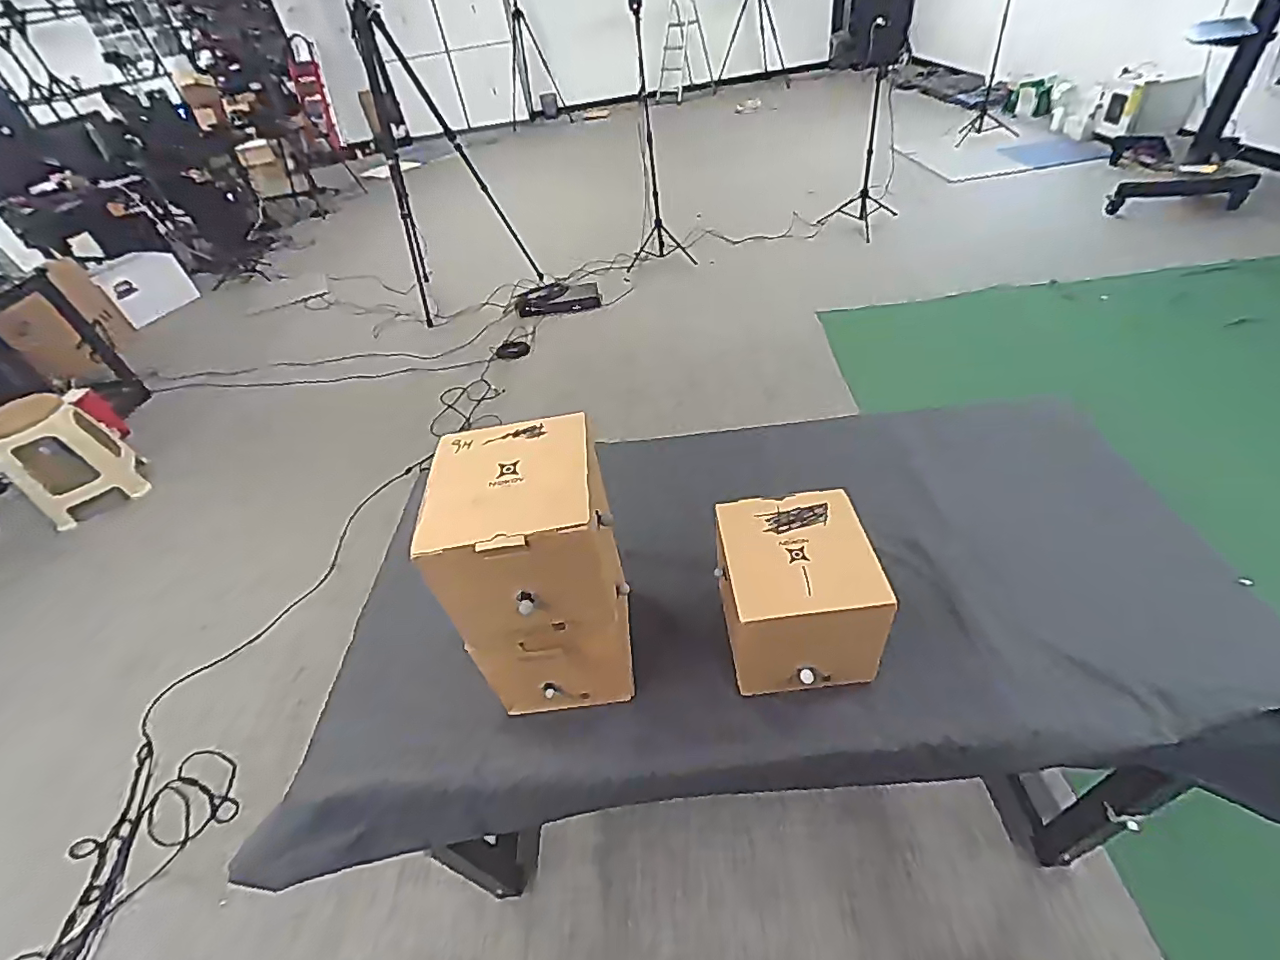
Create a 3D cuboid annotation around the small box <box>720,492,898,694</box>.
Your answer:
[{"bbox_3d":[0.194,0.141,0.677,0.168,0.176,0.179,-8,42,3],"label":"small box"}]

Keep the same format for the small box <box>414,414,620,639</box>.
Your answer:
[{"bbox_3d":[-0.119,0.057,0.593,0.168,0.176,0.179,-9,43,1],"label":"small box"}]

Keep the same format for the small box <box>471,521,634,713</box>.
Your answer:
[{"bbox_3d":[-0.102,0.175,0.704,0.168,0.176,0.179,-8,42,2],"label":"small box"}]
